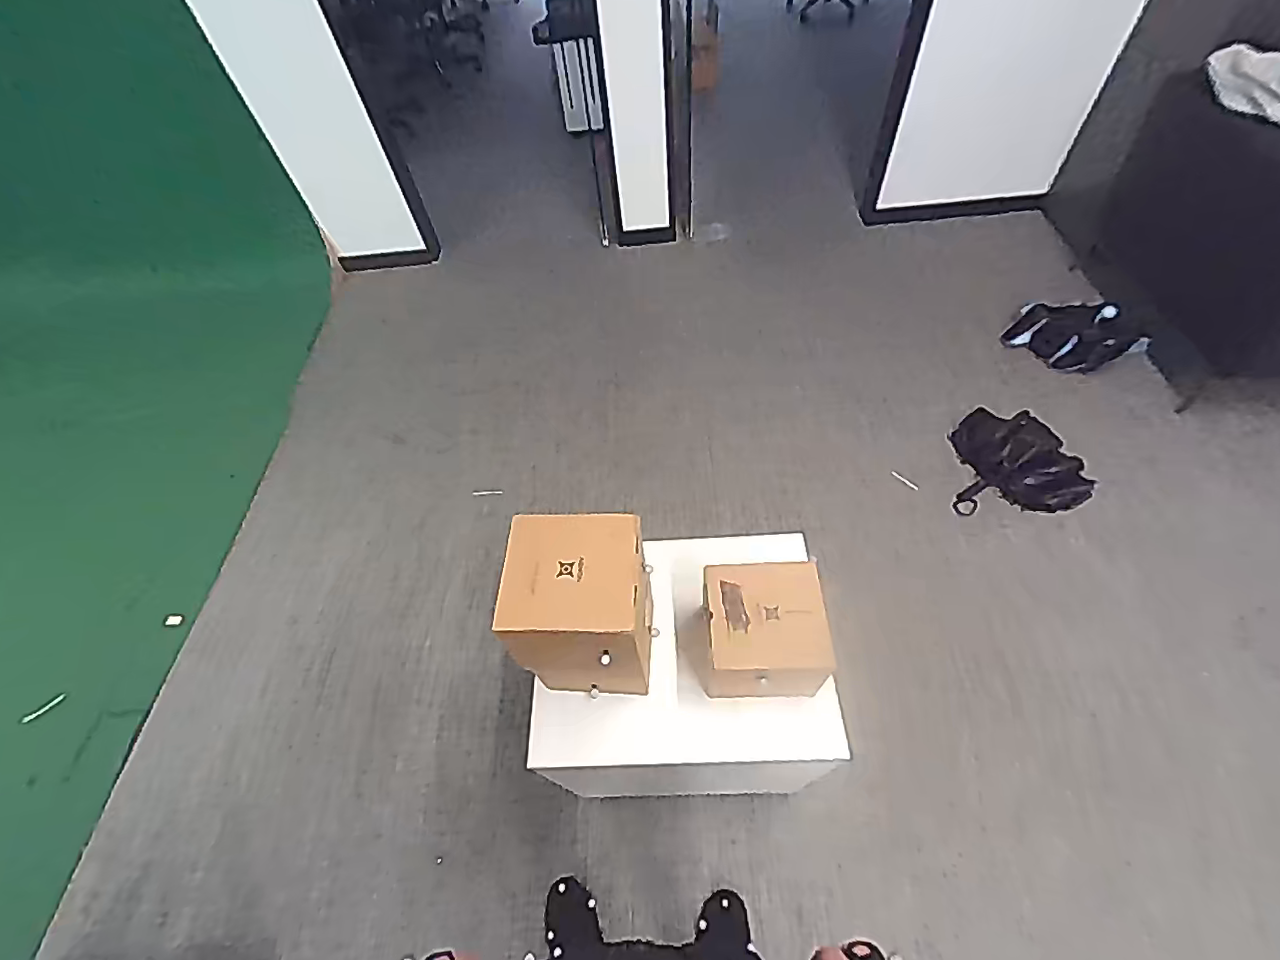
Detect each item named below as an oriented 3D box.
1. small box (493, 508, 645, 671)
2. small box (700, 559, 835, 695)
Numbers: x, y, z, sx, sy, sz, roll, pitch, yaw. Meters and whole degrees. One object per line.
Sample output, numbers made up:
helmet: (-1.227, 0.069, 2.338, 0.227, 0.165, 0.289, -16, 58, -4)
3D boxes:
small box: (-0.081, 0.152, 0.734, 0.179, 0.176, 0.168, -1, 54, 2)
small box: (0.188, 0.239, 0.863, 0.179, 0.176, 0.168, -2, 55, 0)
